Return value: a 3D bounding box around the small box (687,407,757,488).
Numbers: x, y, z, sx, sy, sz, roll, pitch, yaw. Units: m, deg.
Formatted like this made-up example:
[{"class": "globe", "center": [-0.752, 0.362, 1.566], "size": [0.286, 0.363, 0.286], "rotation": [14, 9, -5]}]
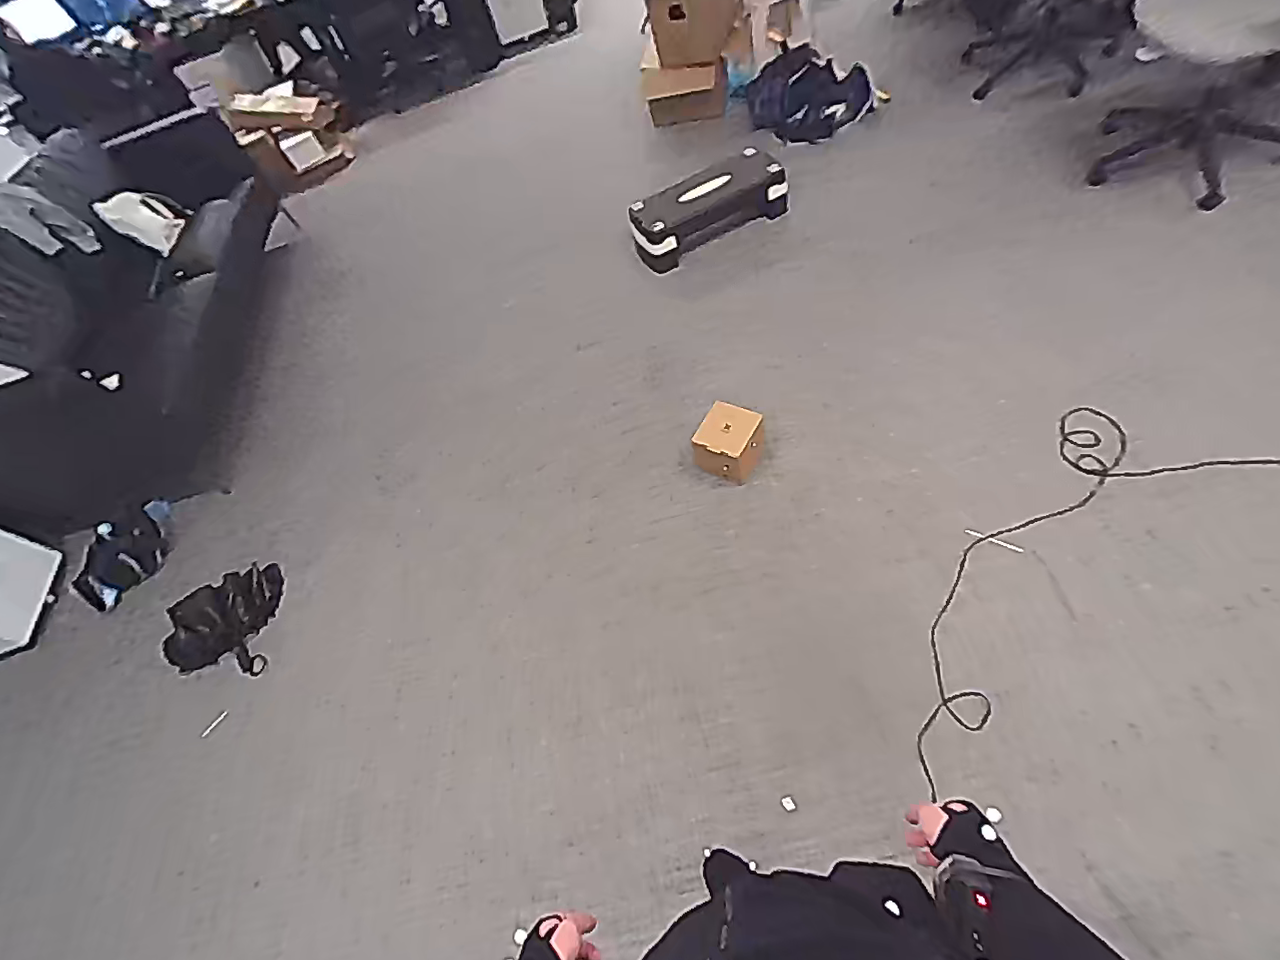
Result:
[{"class": "small box", "center": [0.275, -0.101, 1.753], "size": [0.168, 0.176, 0.179], "rotation": [22, 65, 26]}]
